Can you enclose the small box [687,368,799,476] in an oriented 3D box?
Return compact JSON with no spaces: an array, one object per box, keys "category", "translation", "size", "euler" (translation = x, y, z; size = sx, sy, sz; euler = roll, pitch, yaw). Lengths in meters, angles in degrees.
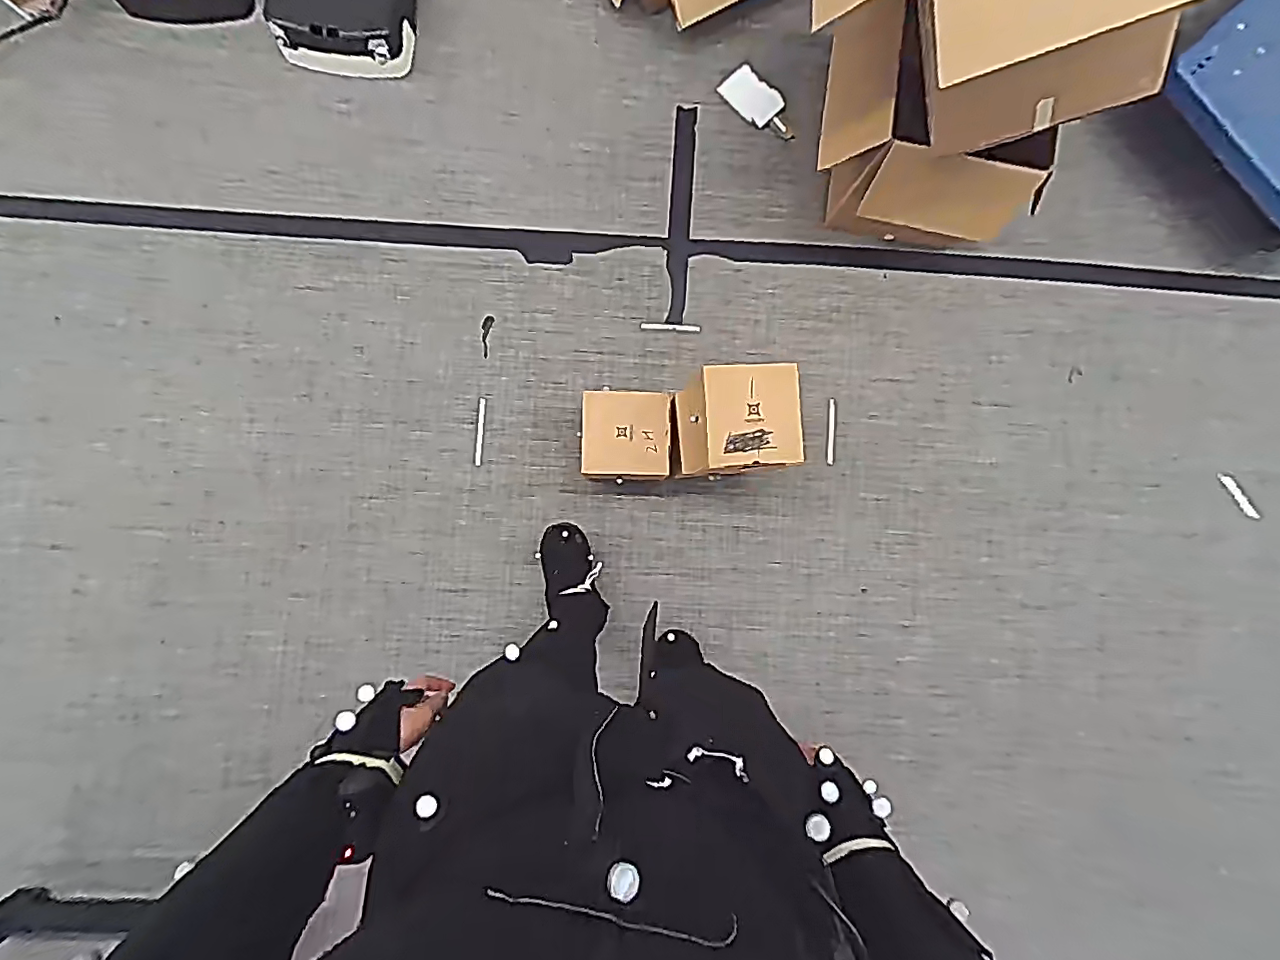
[{"category":"small box","translation":[0.182,-0.098,0.995],"size":[0.168,0.176,0.179],"euler":[-2,86,-4]}]
